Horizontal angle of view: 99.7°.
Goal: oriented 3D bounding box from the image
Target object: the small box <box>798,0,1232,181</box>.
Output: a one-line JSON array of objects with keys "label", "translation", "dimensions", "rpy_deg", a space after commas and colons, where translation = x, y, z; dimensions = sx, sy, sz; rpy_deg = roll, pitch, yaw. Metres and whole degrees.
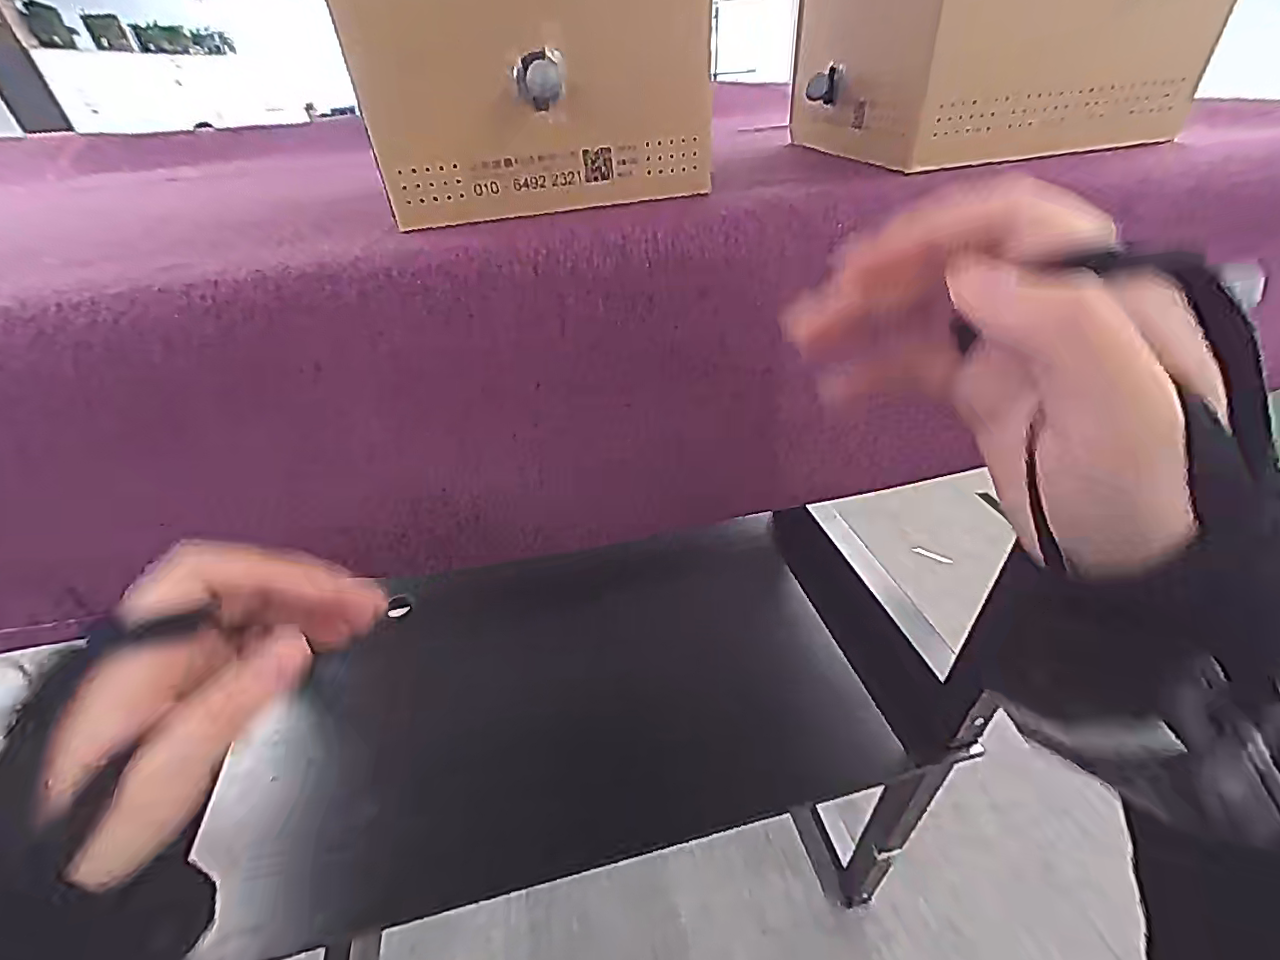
[{"label": "small box", "translation": [0.213, -0.292, 0.324], "dimensions": [0.179, 0.176, 0.168], "rpy_deg": [-10, 37, -6]}]

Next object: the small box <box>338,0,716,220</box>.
[{"label": "small box", "translation": [-0.064, -0.250, 0.294], "dimensions": [0.168, 0.176, 0.179], "rpy_deg": [-12, 38, -9]}]
